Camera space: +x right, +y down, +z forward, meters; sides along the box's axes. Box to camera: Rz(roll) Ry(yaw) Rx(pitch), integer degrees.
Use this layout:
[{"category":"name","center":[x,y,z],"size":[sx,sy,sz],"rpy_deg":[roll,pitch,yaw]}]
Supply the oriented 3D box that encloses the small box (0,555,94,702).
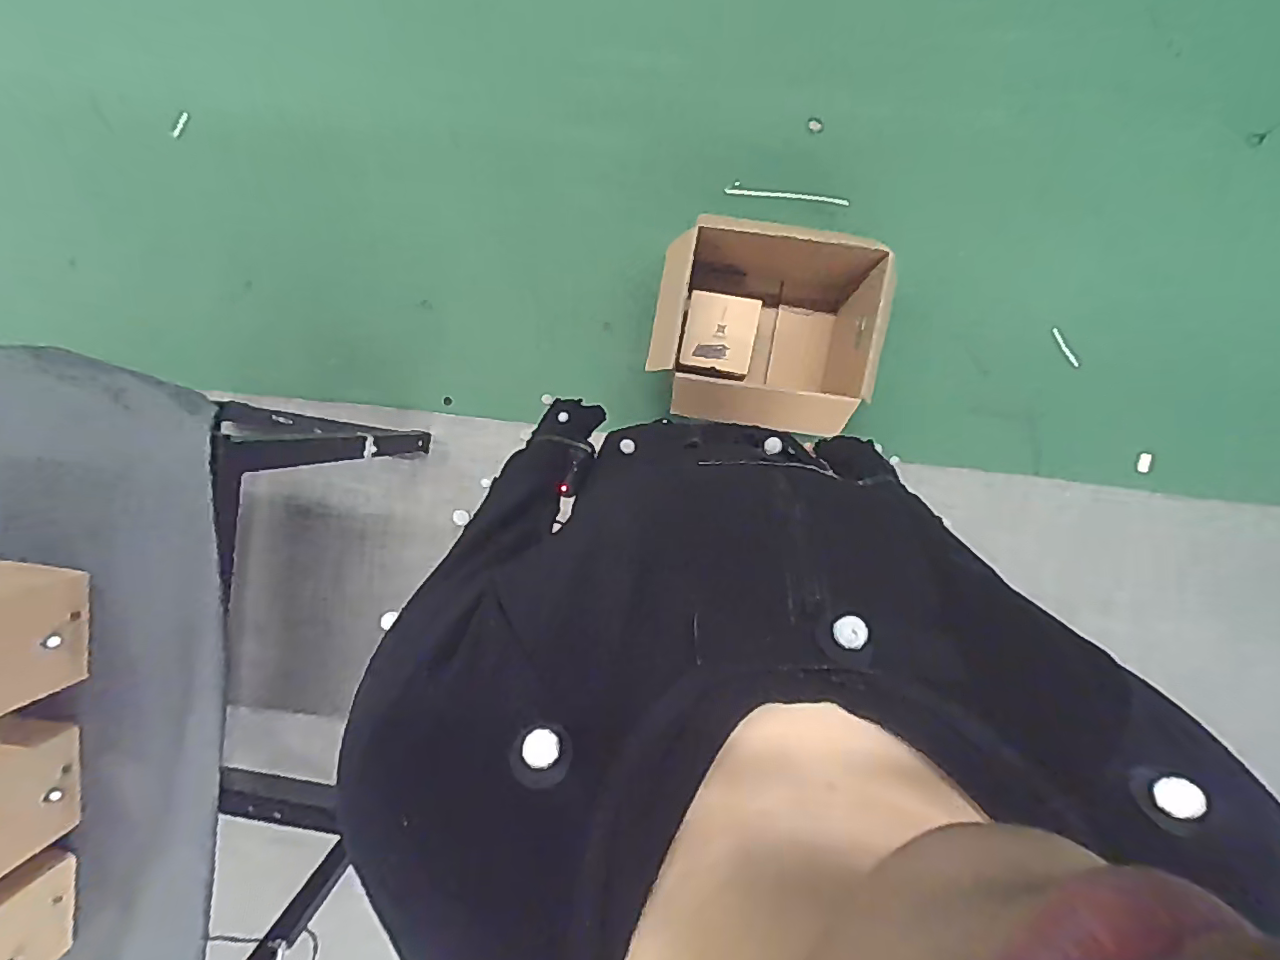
[{"category":"small box","center":[-0.899,0.203,0.719],"size":[0.179,0.176,0.168],"rpy_deg":[8,96,2]}]
